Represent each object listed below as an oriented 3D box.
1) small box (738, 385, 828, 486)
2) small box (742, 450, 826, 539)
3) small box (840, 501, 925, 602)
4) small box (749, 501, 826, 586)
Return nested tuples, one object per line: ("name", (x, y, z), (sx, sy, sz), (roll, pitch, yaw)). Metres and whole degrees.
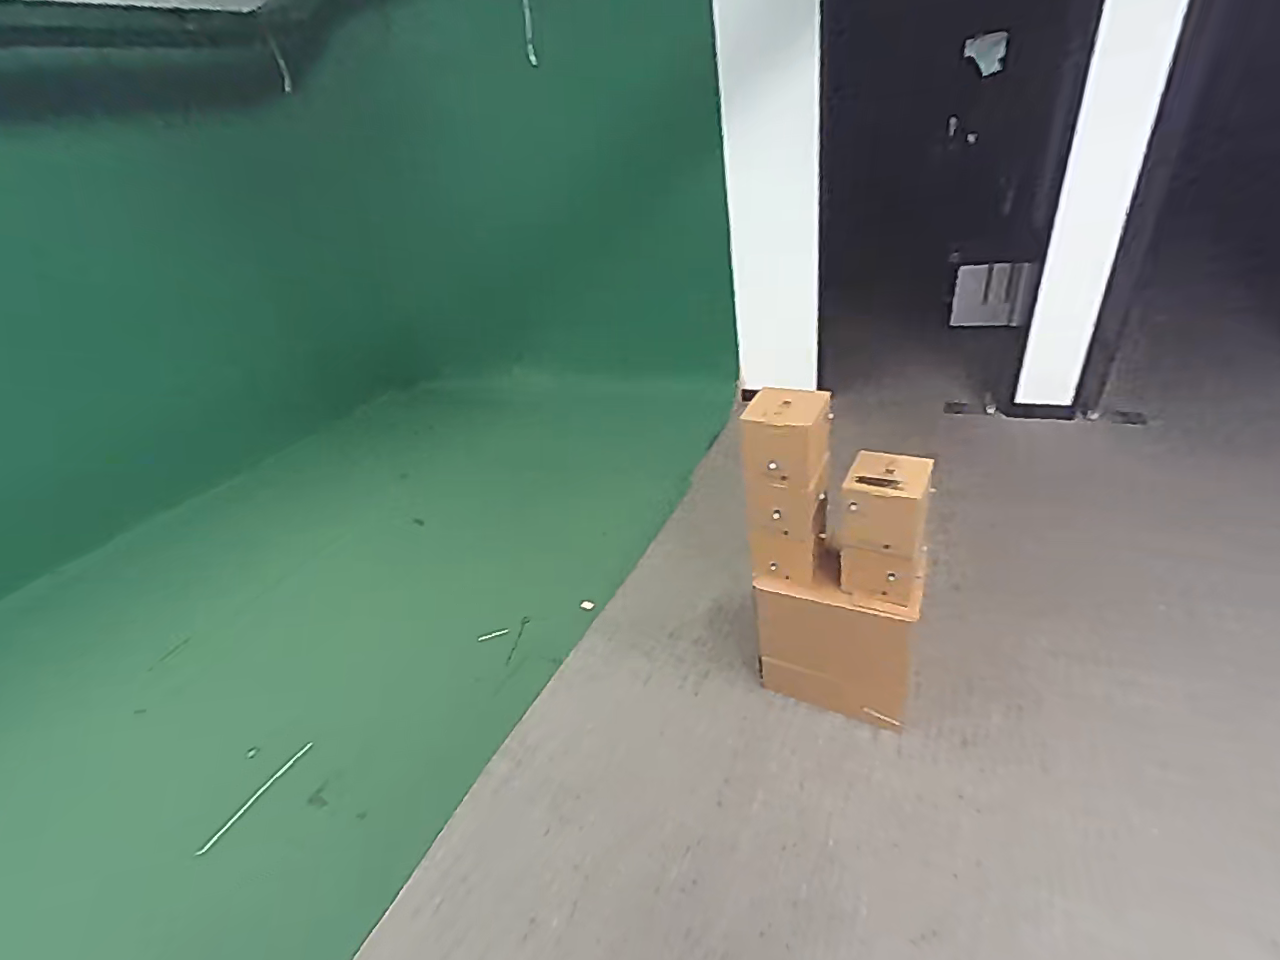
("small box", (0.346, -0.109, 1.300), (0.168, 0.176, 0.179), (10, 40, 29))
("small box", (0.375, 0.028, 1.388), (0.168, 0.176, 0.179), (11, 40, 29))
("small box", (0.617, 0.181, 1.377), (0.168, 0.176, 0.179), (10, 38, 31))
("small box", (0.405, 0.158, 1.483), (0.168, 0.176, 0.179), (10, 40, 28))
